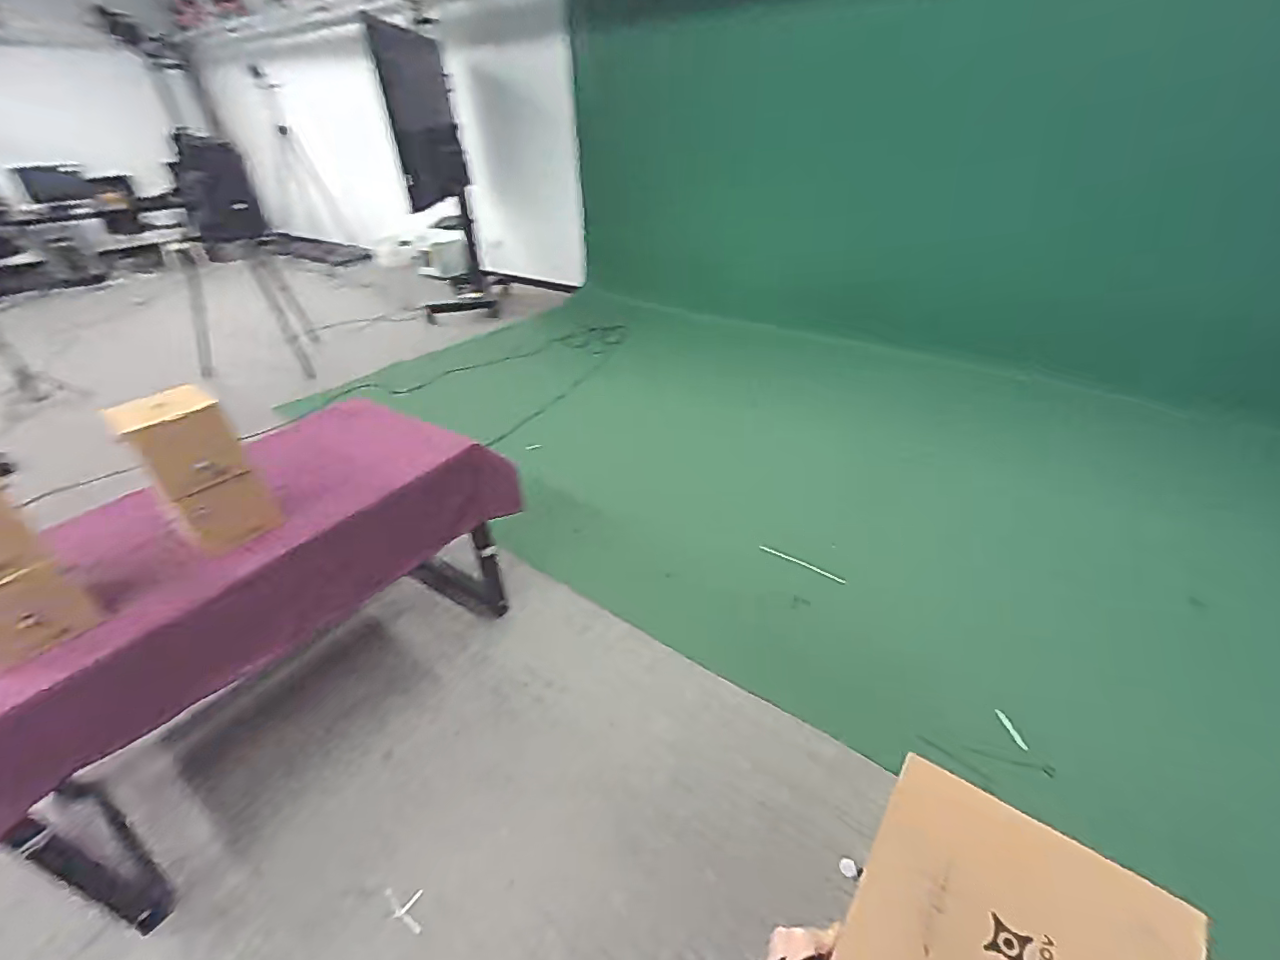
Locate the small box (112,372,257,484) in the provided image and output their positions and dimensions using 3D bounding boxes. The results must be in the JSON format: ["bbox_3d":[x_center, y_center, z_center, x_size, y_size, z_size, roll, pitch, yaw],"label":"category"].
[{"bbox_3d":[-0.981,-0.114,1.173,0.179,0.176,0.168,24,43,32],"label":"small box"}]

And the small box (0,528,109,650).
[{"bbox_3d":[-1.175,0.193,1.030,0.179,0.176,0.168,23,41,30],"label":"small box"}]

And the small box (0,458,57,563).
[{"bbox_3d":[-1.183,0.054,0.941,0.179,0.176,0.168,22,41,32],"label":"small box"}]

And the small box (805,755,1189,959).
[{"bbox_3d":[0.231,0.347,0.387,0.179,0.176,0.168,22,50,32],"label":"small box"}]
